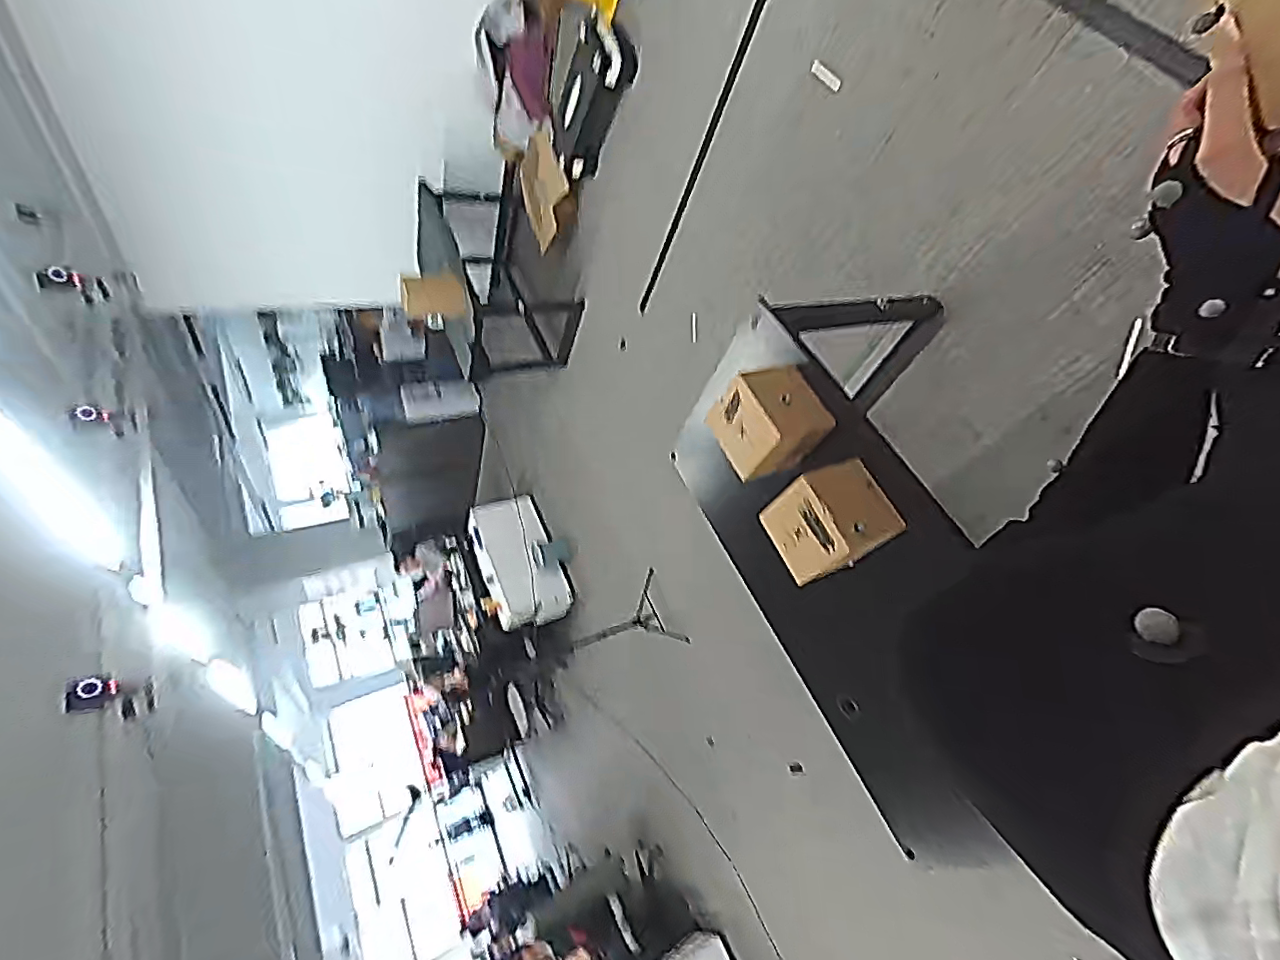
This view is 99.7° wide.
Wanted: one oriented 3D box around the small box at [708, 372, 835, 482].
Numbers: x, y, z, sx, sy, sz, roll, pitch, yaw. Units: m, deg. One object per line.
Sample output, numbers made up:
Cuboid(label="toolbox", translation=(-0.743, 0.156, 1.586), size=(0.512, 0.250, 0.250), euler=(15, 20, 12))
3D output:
Cuboid(label="small box", translation=(0.286, -0.122, 1.192), size=(0.179, 0.176, 0.168), euler=(61, 148, 23))

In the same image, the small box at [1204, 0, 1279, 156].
Cuboid(label="small box", translation=(0.486, -0.343, 0.340), size=(0.168, 0.176, 0.179), euler=(-14, 95, 47))
